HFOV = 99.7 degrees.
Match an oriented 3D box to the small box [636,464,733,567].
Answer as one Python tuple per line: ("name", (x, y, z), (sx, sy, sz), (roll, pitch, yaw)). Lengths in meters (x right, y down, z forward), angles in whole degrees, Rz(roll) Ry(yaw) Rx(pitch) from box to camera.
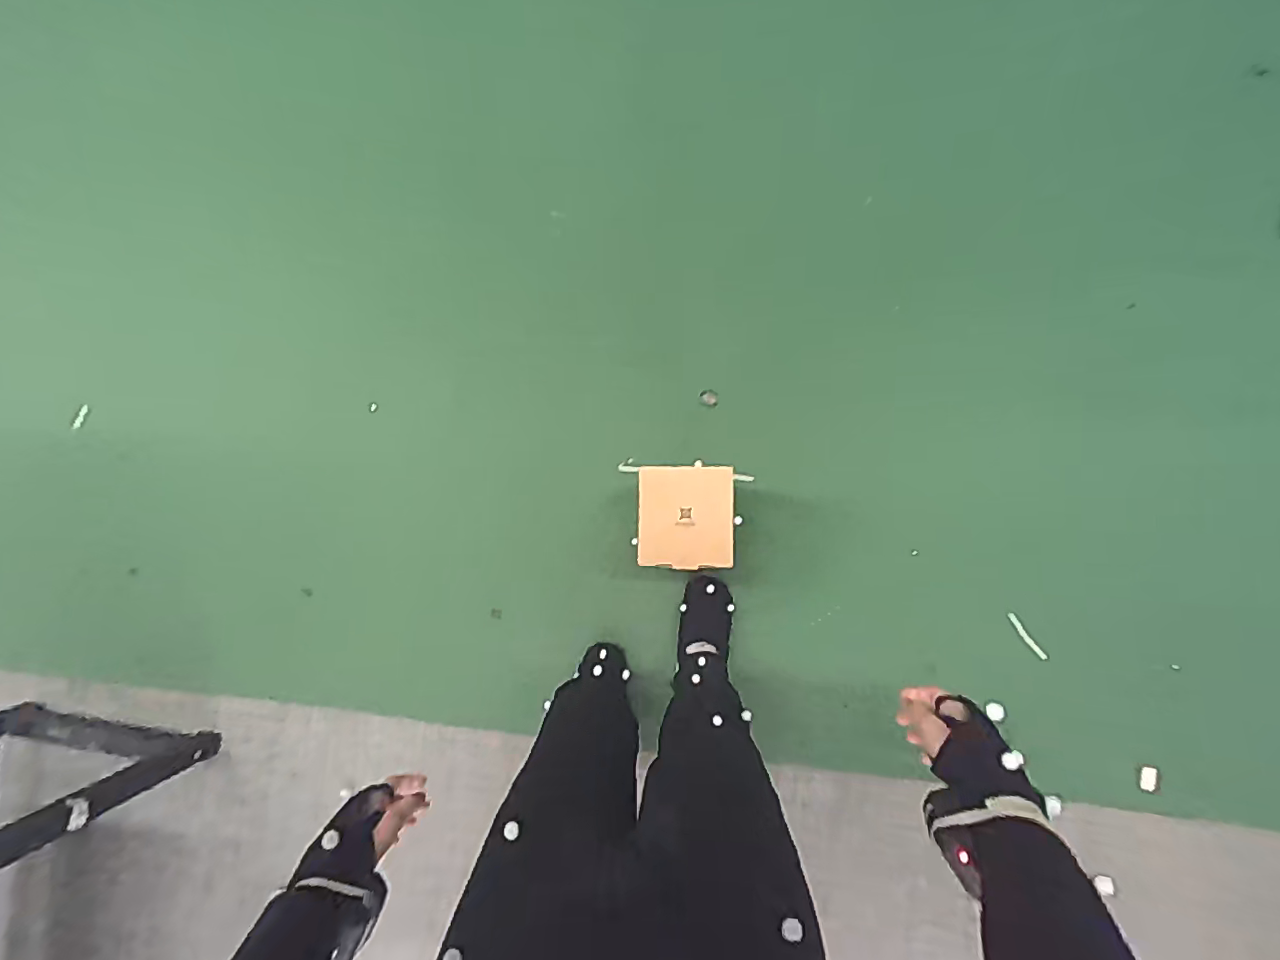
("small box", (0.084, 0.063, 1.012), (0.168, 0.176, 0.179), (1, 89, 6))
